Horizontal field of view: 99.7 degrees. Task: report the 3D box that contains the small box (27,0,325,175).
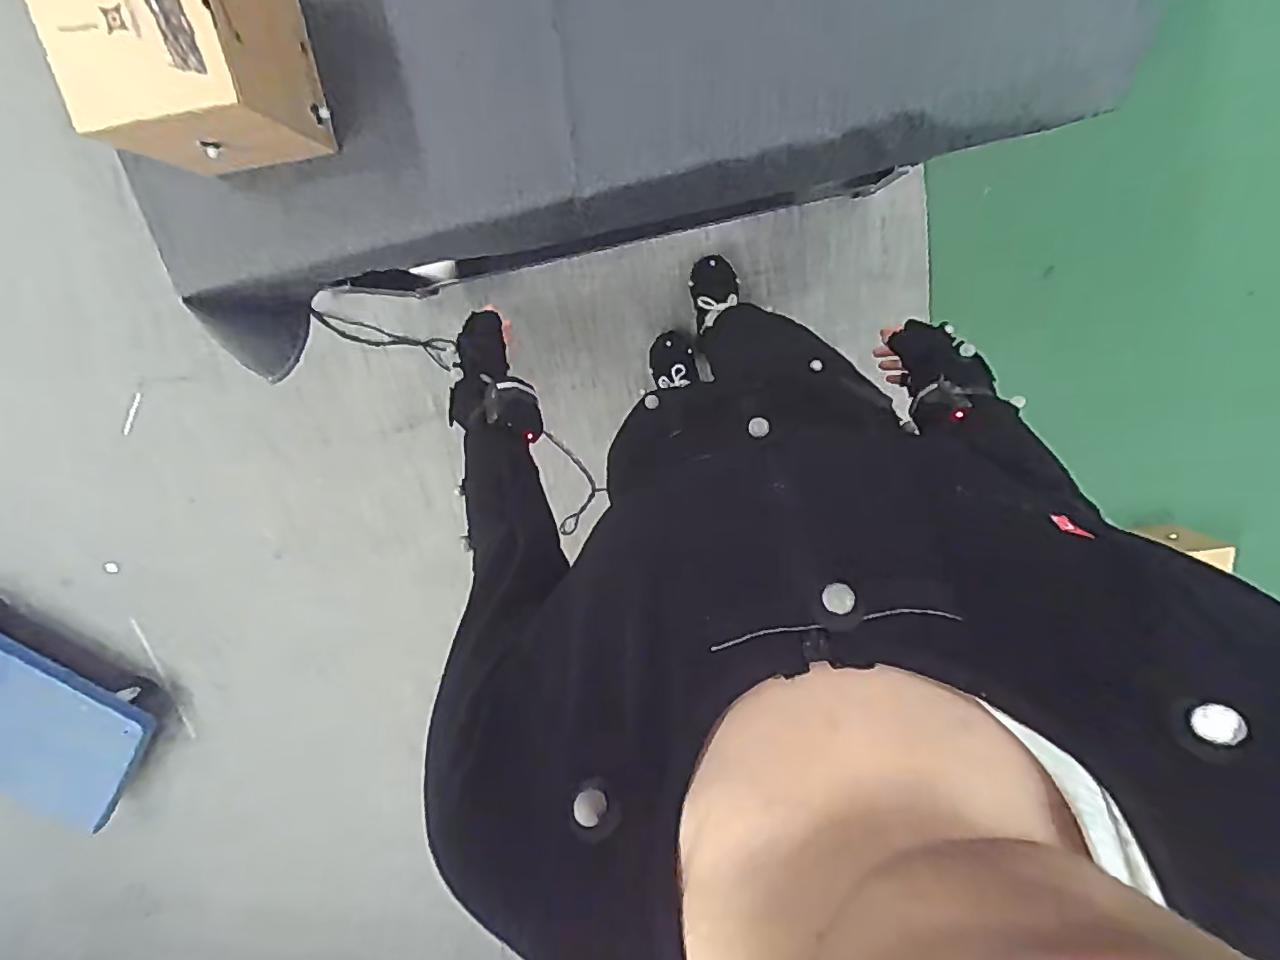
[{"bbox_3d":[-0.472,-0.446,0.578,0.179,0.176,0.168,-7,106,5],"label":"small box"}]
